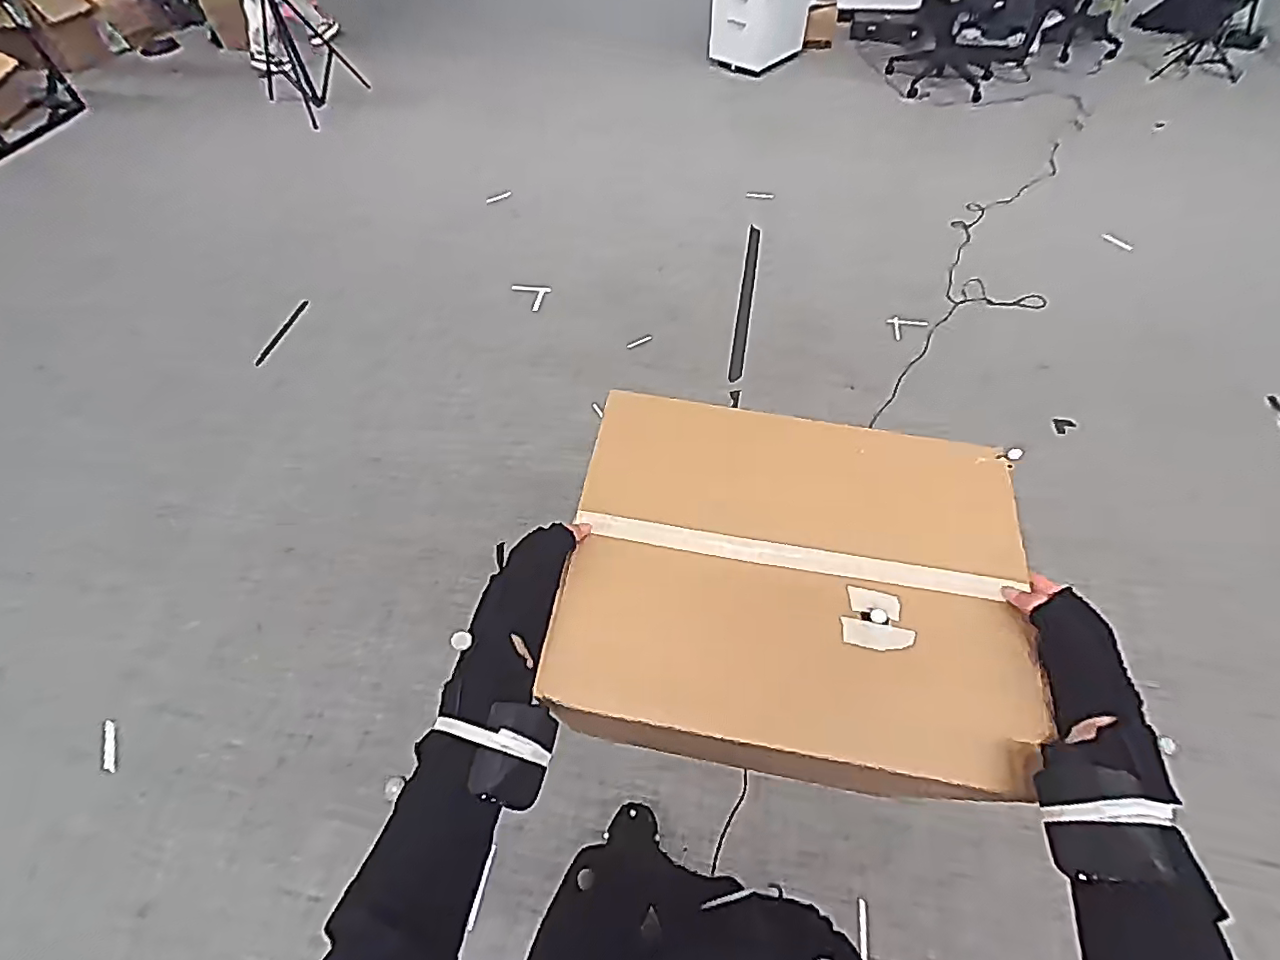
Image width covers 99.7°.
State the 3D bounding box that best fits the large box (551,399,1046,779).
[{"bbox_3d":[0.139,0.143,0.629,0.408,0.320,0.320,9,62,4],"label":"large box"}]
